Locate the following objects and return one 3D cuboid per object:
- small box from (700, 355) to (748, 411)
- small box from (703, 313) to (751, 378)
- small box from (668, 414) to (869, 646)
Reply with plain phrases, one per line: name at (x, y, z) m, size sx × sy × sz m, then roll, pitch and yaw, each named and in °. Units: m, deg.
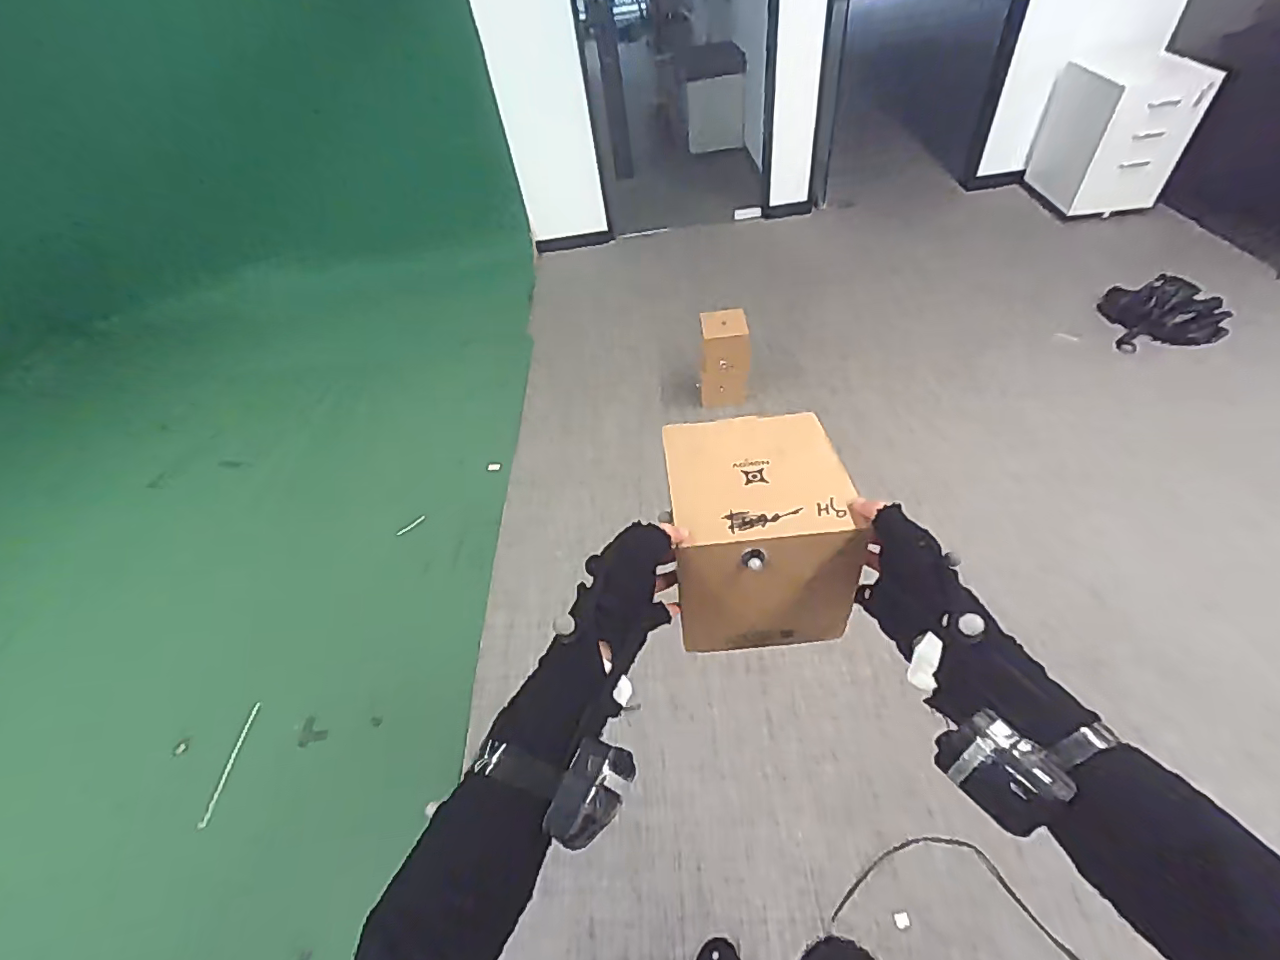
small box at (0.342, -0.402, 2.205) m, size 0.179 × 0.176 × 0.168 m, roll -6°, pitch 47°, yaw 6°
small box at (0.336, -0.518, 2.093) m, size 0.168 × 0.176 × 0.179 m, roll -7°, pitch 48°, yaw 6°
small box at (0.119, 0.051, 0.577) m, size 0.168 × 0.176 × 0.179 m, roll -6°, pitch 40°, yaw 2°
